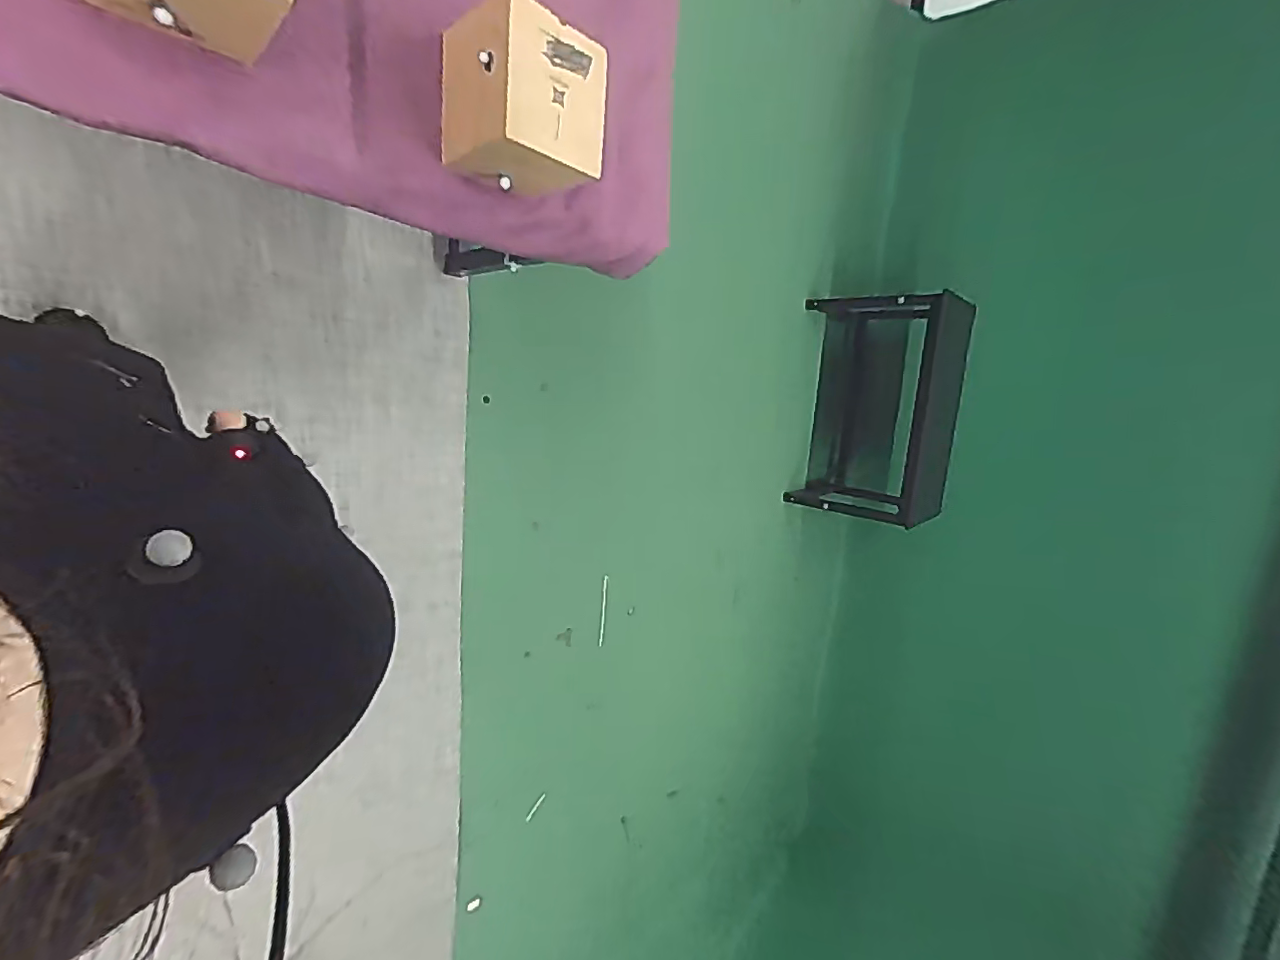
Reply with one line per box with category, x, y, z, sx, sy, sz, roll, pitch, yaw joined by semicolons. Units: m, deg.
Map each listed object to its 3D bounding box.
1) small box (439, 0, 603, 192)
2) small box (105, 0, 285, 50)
small box;-0.173;-0.542;0.777;0.168;0.176;0.179;-6;105;-47
small box;-0.433;-0.541;0.479;0.168;0.176;0.179;-8;105;-47
